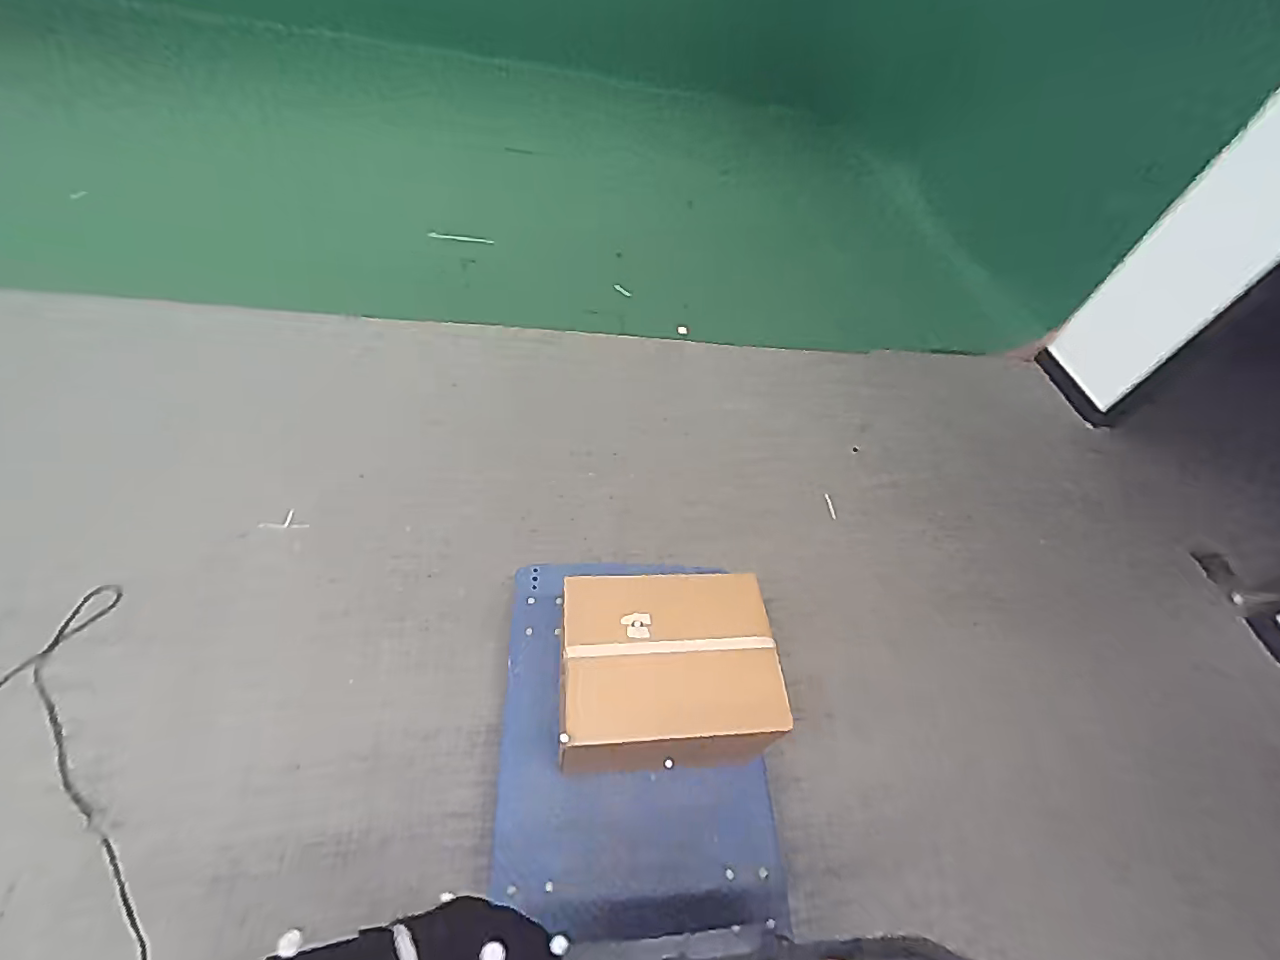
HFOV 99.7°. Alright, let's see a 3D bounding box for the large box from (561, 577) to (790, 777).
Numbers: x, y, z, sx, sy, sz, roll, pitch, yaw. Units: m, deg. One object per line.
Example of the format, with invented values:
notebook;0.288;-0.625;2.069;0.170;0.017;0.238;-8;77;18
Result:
large box;0.041;0.417;1.139;0.408;0.320;0.320;1;52;-10
